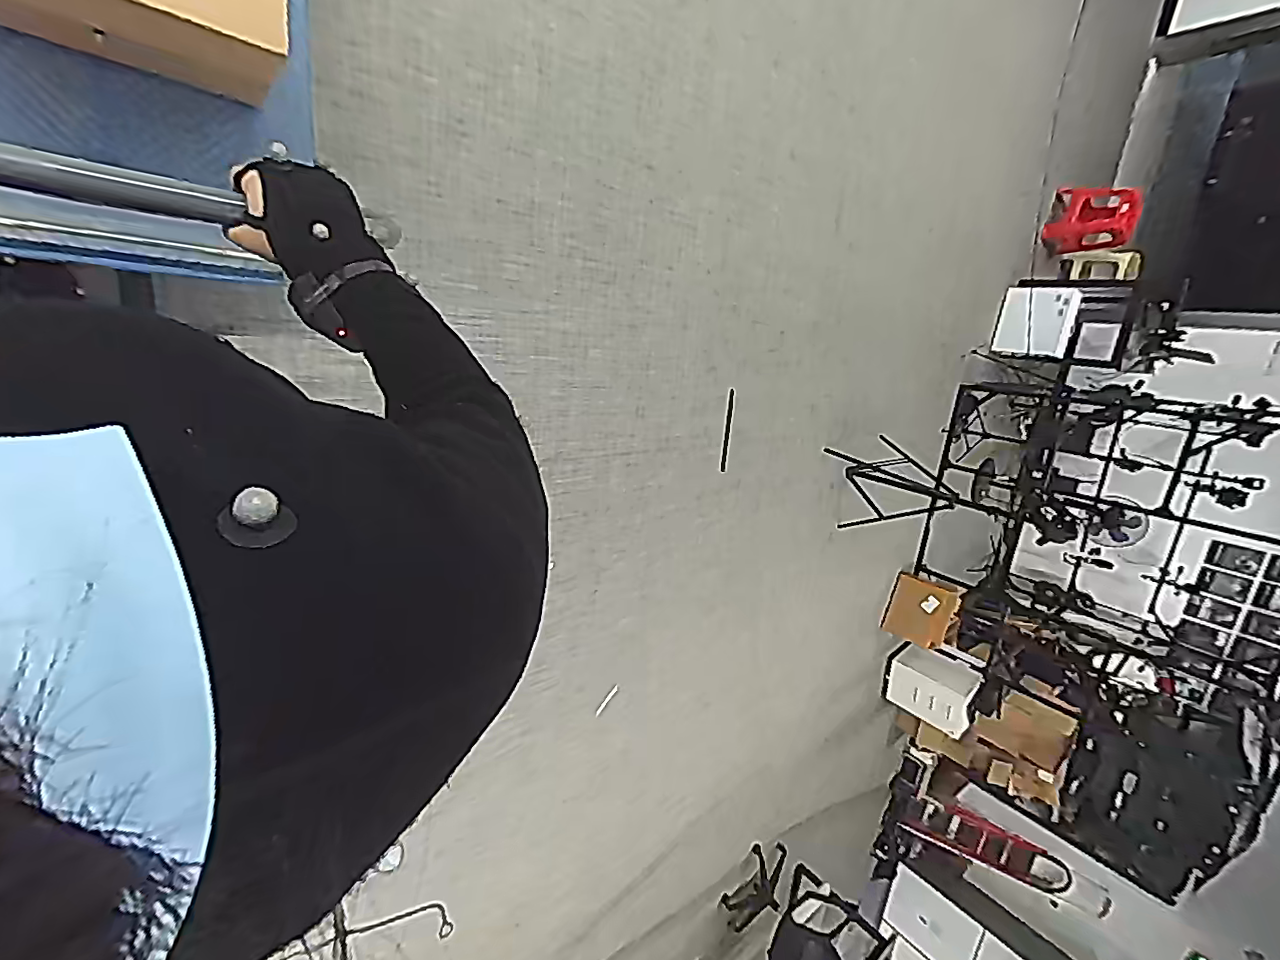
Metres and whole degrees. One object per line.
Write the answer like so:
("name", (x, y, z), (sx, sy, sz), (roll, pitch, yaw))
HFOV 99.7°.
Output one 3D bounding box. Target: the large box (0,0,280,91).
("large box", (-0.736, -0.782, 0.706), (0.408, 0.320, 0.320), (-6, 109, -40))
